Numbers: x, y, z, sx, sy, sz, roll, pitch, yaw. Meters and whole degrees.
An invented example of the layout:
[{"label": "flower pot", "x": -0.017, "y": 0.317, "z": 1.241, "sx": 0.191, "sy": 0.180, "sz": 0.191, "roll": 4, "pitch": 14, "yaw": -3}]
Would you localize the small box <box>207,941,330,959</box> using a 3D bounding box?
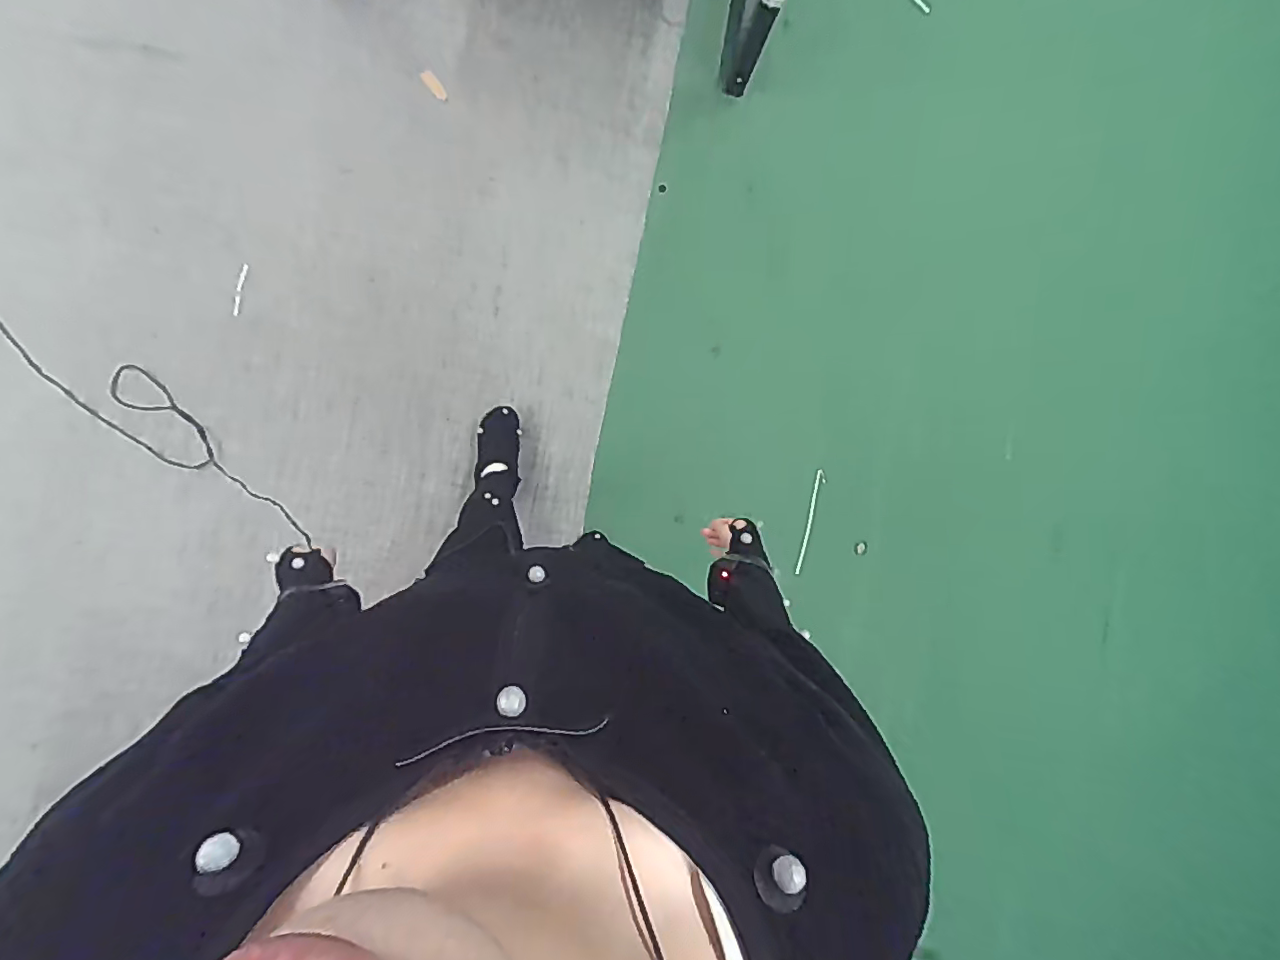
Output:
[{"label": "small box", "x": -0.579, "y": 0.805, "z": 0.766, "sx": 0.179, "sy": 0.176, "sz": 0.168, "roll": 13, "pitch": 89, "yaw": -9}]
